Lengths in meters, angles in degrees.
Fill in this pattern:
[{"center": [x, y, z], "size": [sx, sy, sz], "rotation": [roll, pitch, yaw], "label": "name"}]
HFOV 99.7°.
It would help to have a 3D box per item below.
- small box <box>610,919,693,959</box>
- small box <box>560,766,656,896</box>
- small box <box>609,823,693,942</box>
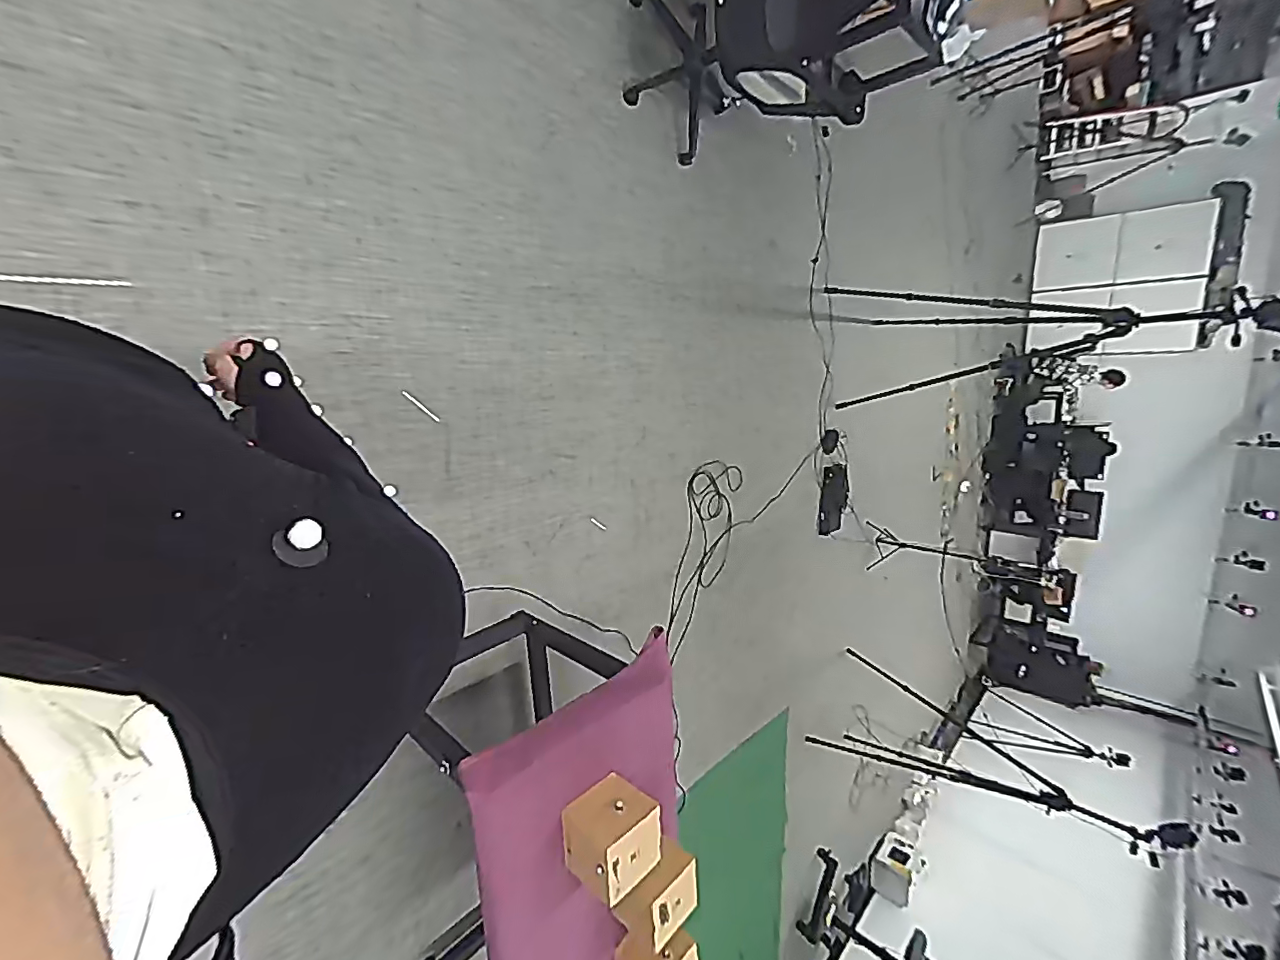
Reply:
[{"center": [0.035, 1.363, 1.547], "size": [0.179, 0.176, 0.168], "rotation": [-17, 108, -43], "label": "small box"}, {"center": [-0.077, 0.852, 1.334], "size": [0.179, 0.176, 0.168], "rotation": [-14, 108, -44], "label": "small box"}, {"center": [0.025, 1.085, 1.485], "size": [0.179, 0.176, 0.168], "rotation": [-16, 109, -45], "label": "small box"}]
